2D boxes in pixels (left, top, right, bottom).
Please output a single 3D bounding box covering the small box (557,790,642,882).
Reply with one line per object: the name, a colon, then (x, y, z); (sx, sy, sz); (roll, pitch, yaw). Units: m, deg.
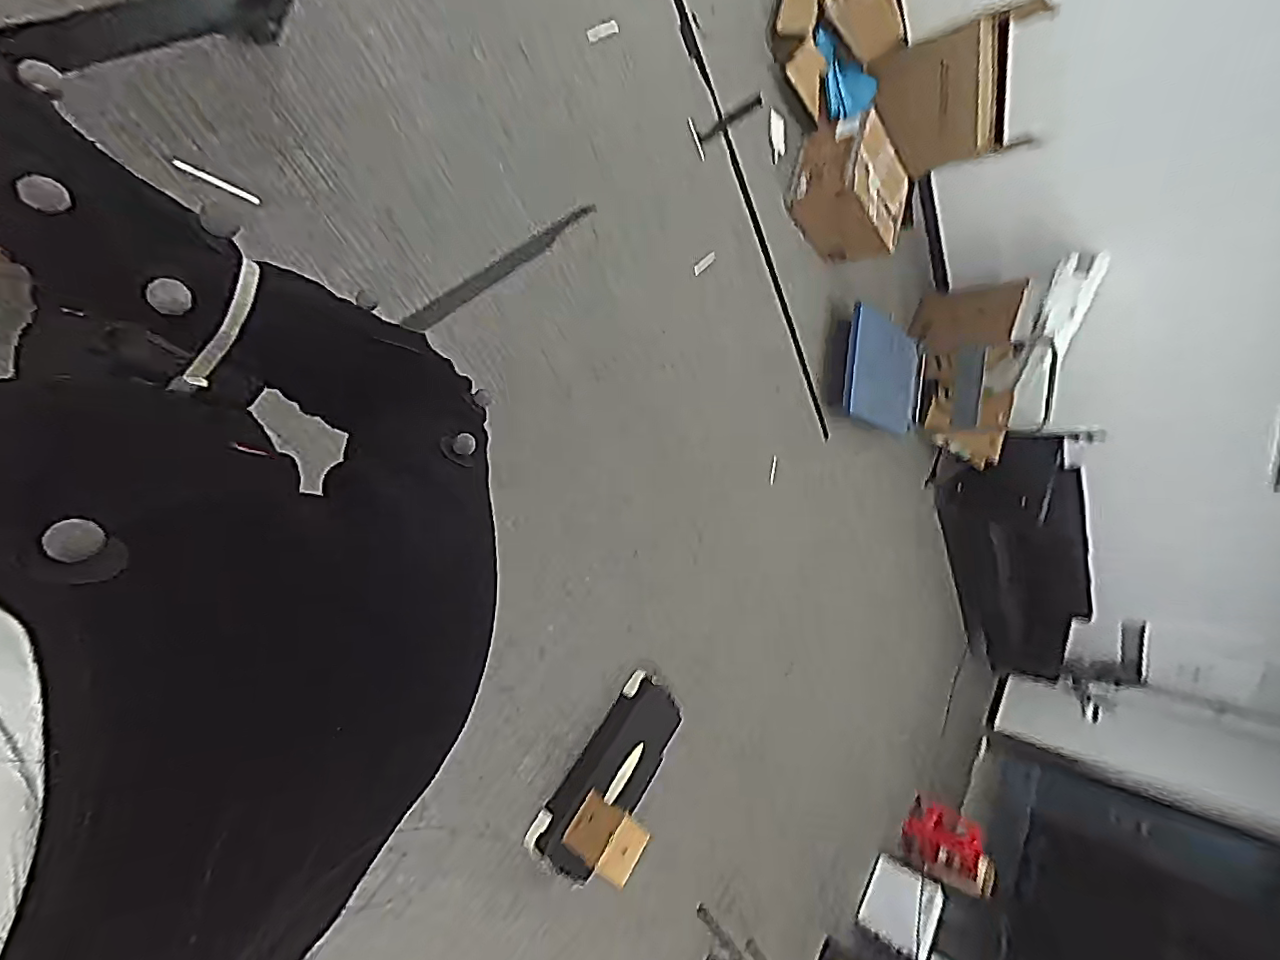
small box: (-0.132, 1.142, 1.745); (0.168, 0.176, 0.179); (-52, 127, -28)
